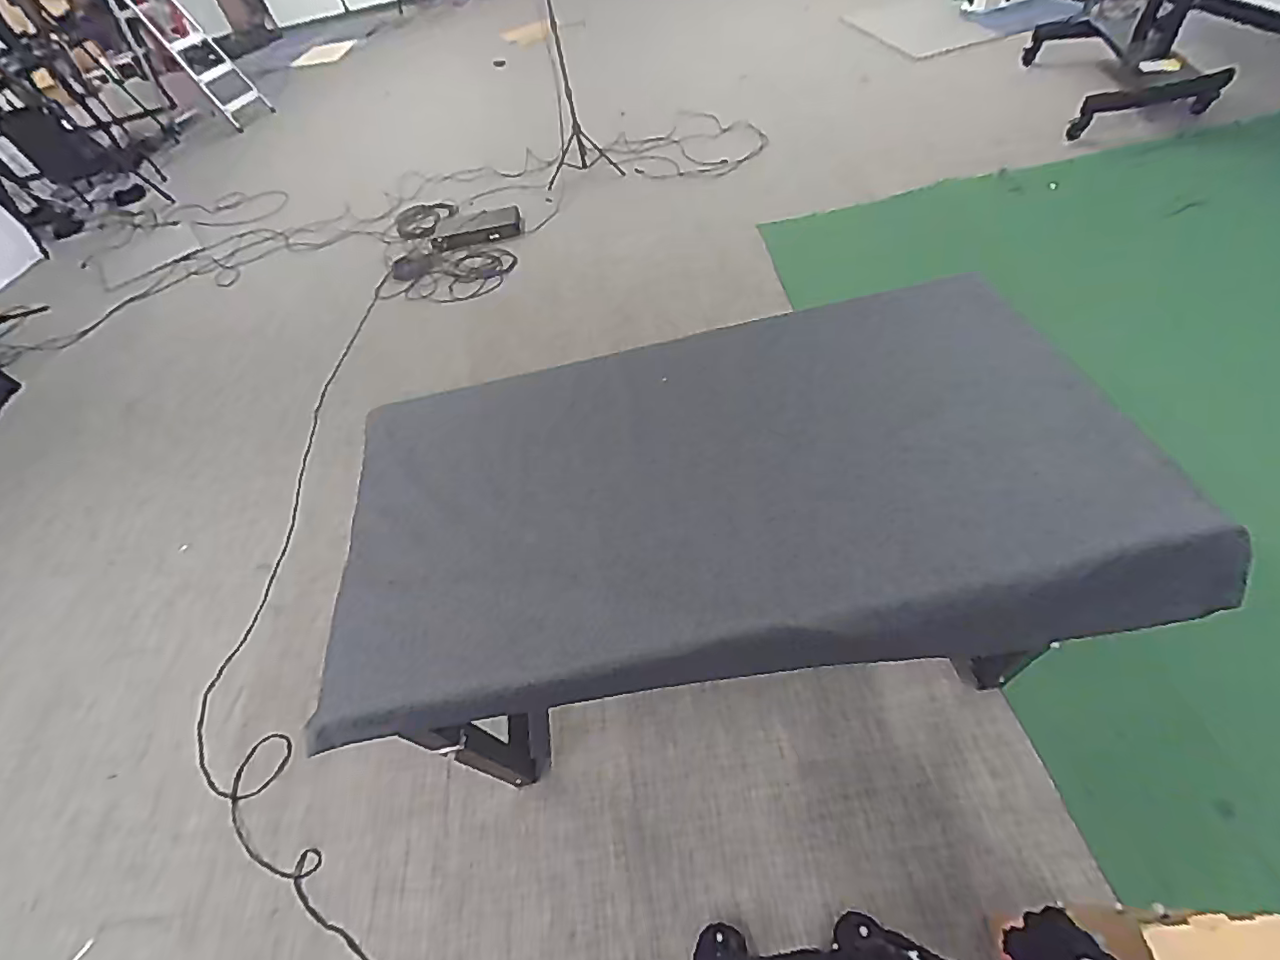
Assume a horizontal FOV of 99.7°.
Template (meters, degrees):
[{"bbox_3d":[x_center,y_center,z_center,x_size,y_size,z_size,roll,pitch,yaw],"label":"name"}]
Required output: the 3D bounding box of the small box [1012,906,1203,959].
[{"bbox_3d":[0.704,0.741,0.800,0.179,0.176,0.168,-9,52,5],"label":"small box"}]

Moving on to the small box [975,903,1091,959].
[{"bbox_3d":[0.724,0.840,0.931,0.179,0.176,0.168,-9,52,5],"label":"small box"}]
